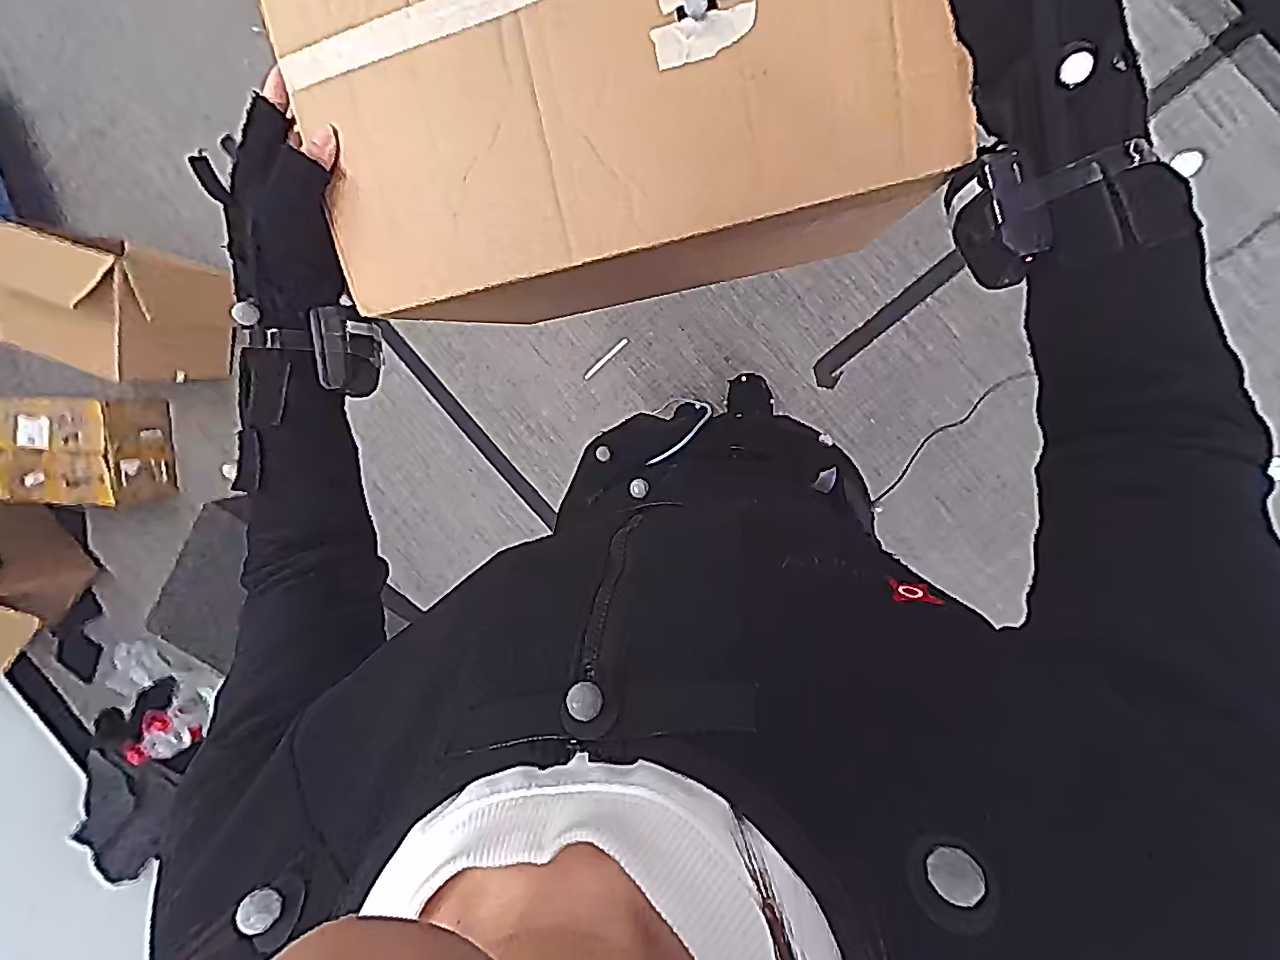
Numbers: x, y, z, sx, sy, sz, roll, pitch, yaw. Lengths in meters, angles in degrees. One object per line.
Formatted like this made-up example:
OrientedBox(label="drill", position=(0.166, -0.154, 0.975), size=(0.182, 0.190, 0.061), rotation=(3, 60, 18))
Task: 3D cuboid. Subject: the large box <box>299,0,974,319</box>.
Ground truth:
OrientedBox(label="large box", position=(-0.003, -0.341, 0.465), size=(0.408, 0.320, 0.320), rotation=(-9, 104, 12))
